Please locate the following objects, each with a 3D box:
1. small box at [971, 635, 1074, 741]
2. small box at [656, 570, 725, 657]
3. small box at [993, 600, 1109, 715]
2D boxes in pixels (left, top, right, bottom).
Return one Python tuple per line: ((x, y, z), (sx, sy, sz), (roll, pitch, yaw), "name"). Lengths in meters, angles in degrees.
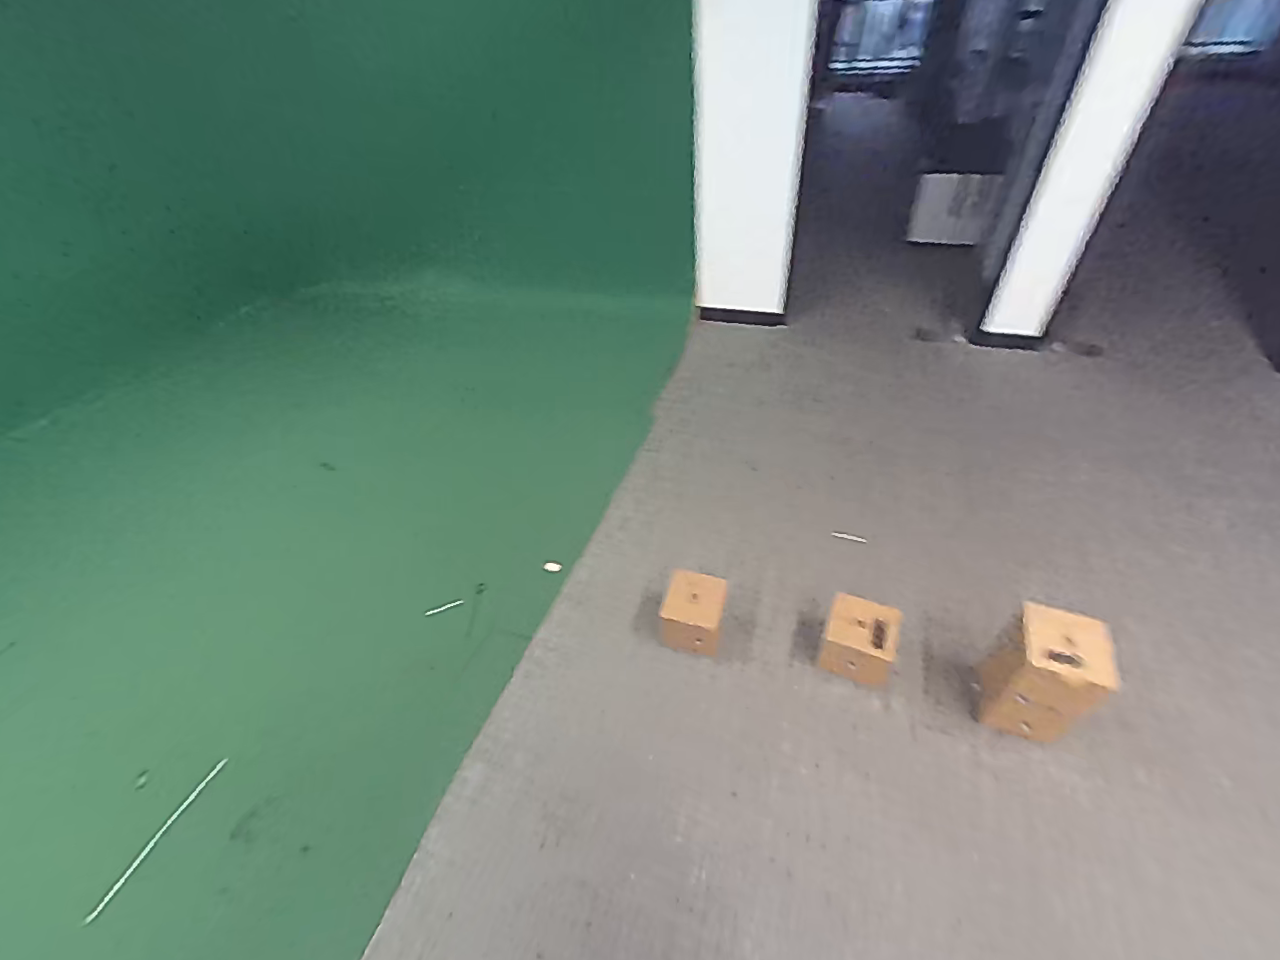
((0.968, 0.536, 1.385), (0.168, 0.176, 0.179), (13, 47, 18), "small box")
((0.154, 0.403, 1.618), (0.168, 0.176, 0.179), (10, 45, 15), "small box")
((0.952, 0.419, 1.269), (0.168, 0.176, 0.179), (14, 46, 20), "small box")
